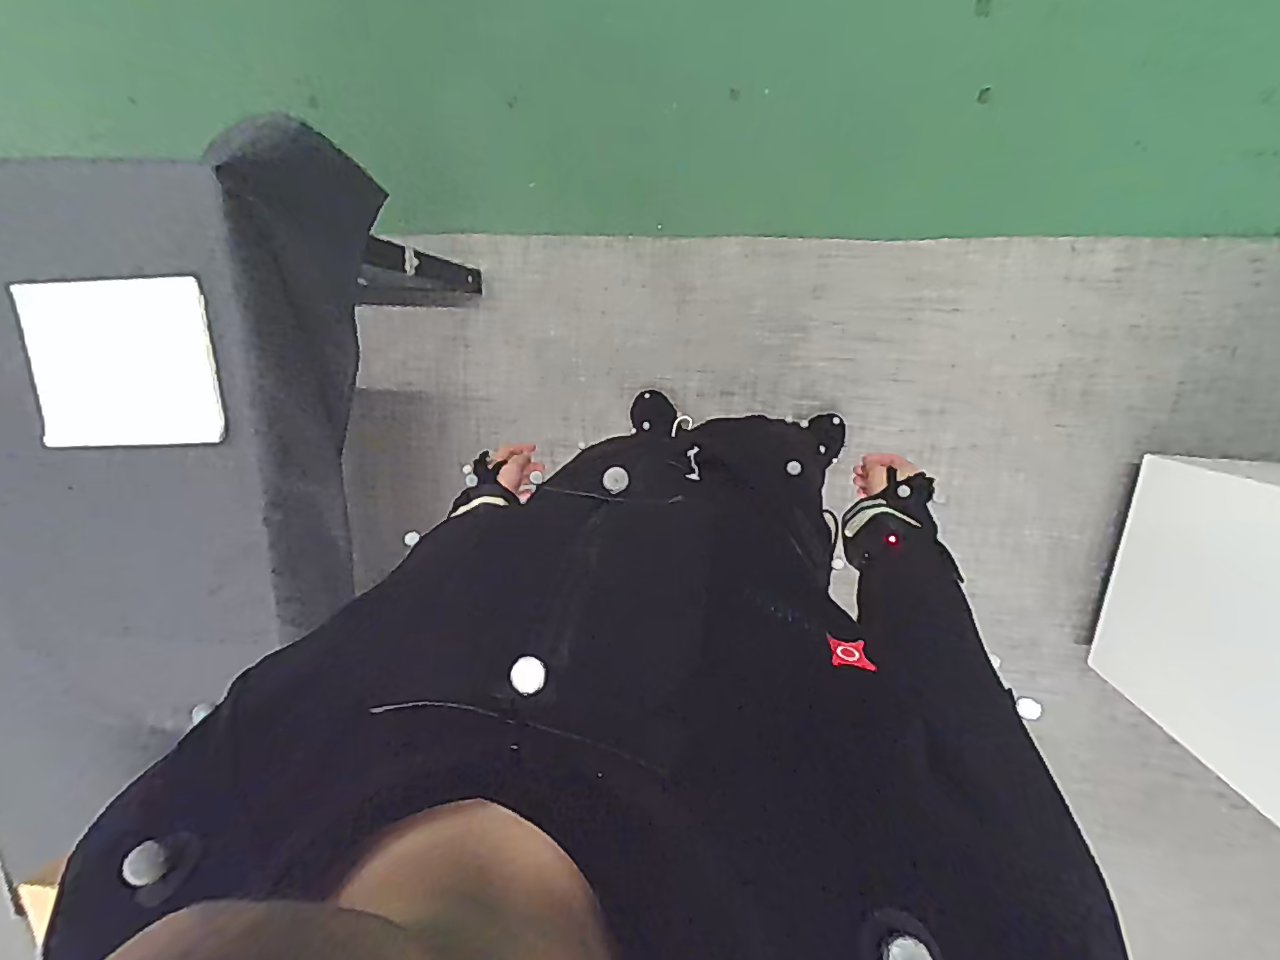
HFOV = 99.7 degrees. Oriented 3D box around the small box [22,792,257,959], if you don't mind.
[{"bbox_3d":[-0.686,0.577,0.767,0.179,0.176,0.168,-1,101,10],"label":"small box"}]
